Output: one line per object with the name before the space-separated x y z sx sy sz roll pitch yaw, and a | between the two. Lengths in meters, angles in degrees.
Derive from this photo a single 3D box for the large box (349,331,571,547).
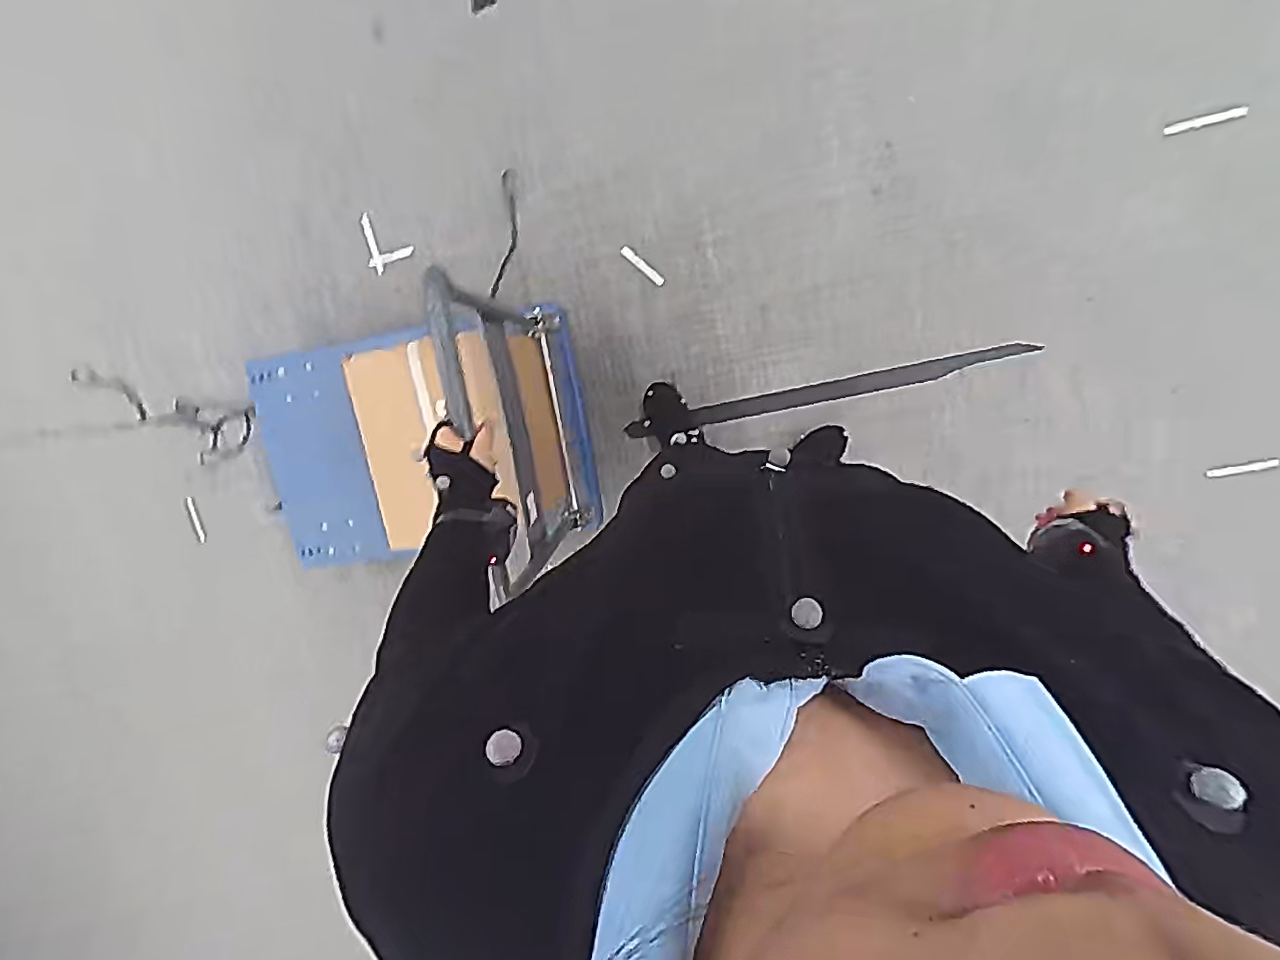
large box | -0.379 -0.097 1.233 0.320 0.320 0.408 -9 99 9
